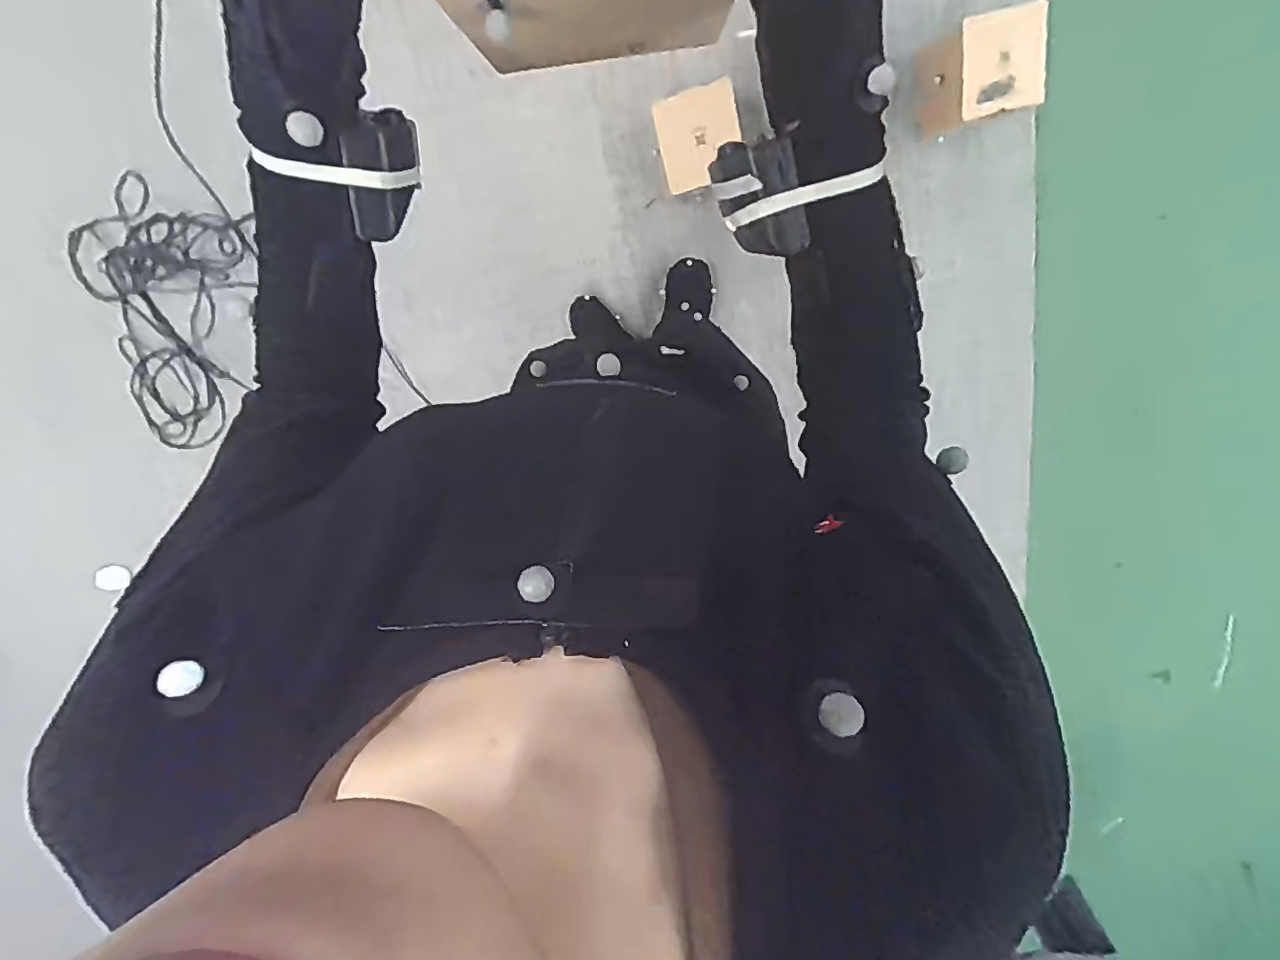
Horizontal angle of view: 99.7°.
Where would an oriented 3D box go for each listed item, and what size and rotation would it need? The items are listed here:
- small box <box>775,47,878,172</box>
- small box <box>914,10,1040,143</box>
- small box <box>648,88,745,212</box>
[{"bbox_3d":[0.392,-0.784,1.161,0.168,0.176,0.179,-8,111,1],"label":"small box"},{"bbox_3d":[0.706,-0.840,1.150,0.168,0.176,0.179,-12,109,3],"label":"small box"},{"bbox_3d":[0.117,-0.707,1.179,0.168,0.176,0.179,-16,111,6],"label":"small box"}]
